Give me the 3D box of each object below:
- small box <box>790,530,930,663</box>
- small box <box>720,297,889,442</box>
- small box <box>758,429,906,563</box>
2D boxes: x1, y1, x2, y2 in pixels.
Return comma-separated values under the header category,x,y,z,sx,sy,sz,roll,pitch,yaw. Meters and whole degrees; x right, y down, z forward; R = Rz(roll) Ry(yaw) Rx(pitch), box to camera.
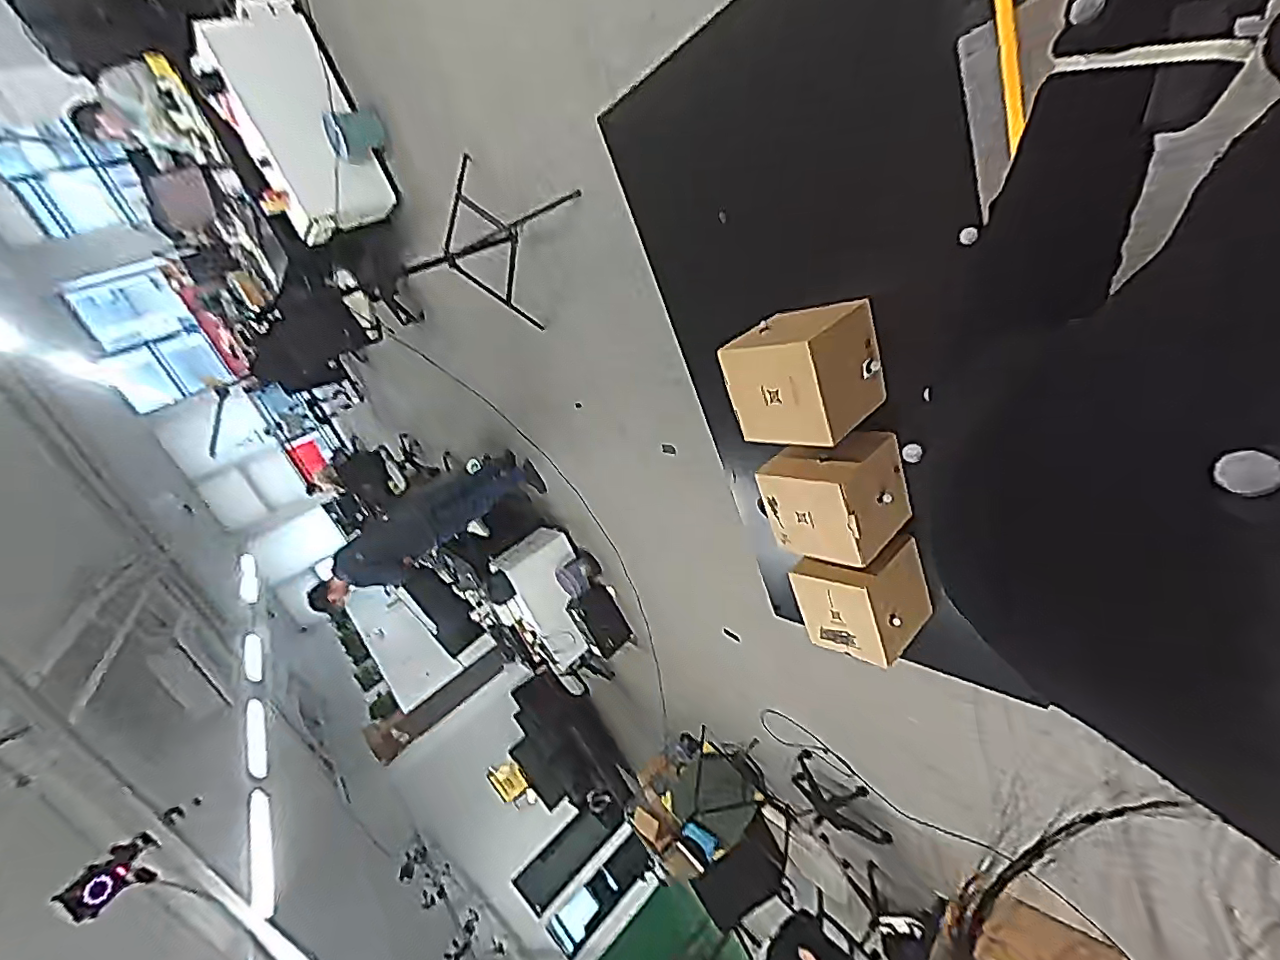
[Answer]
category,x,y,z,sx,sy,sz,roll,pitch,yaw
small box,0.422,0.204,1.027,0.168,0.176,0.179,5,123,55
small box,0.265,-0.176,0.870,0.179,0.176,0.168,9,128,52
small box,0.344,0.019,0.952,0.179,0.176,0.168,9,128,53
